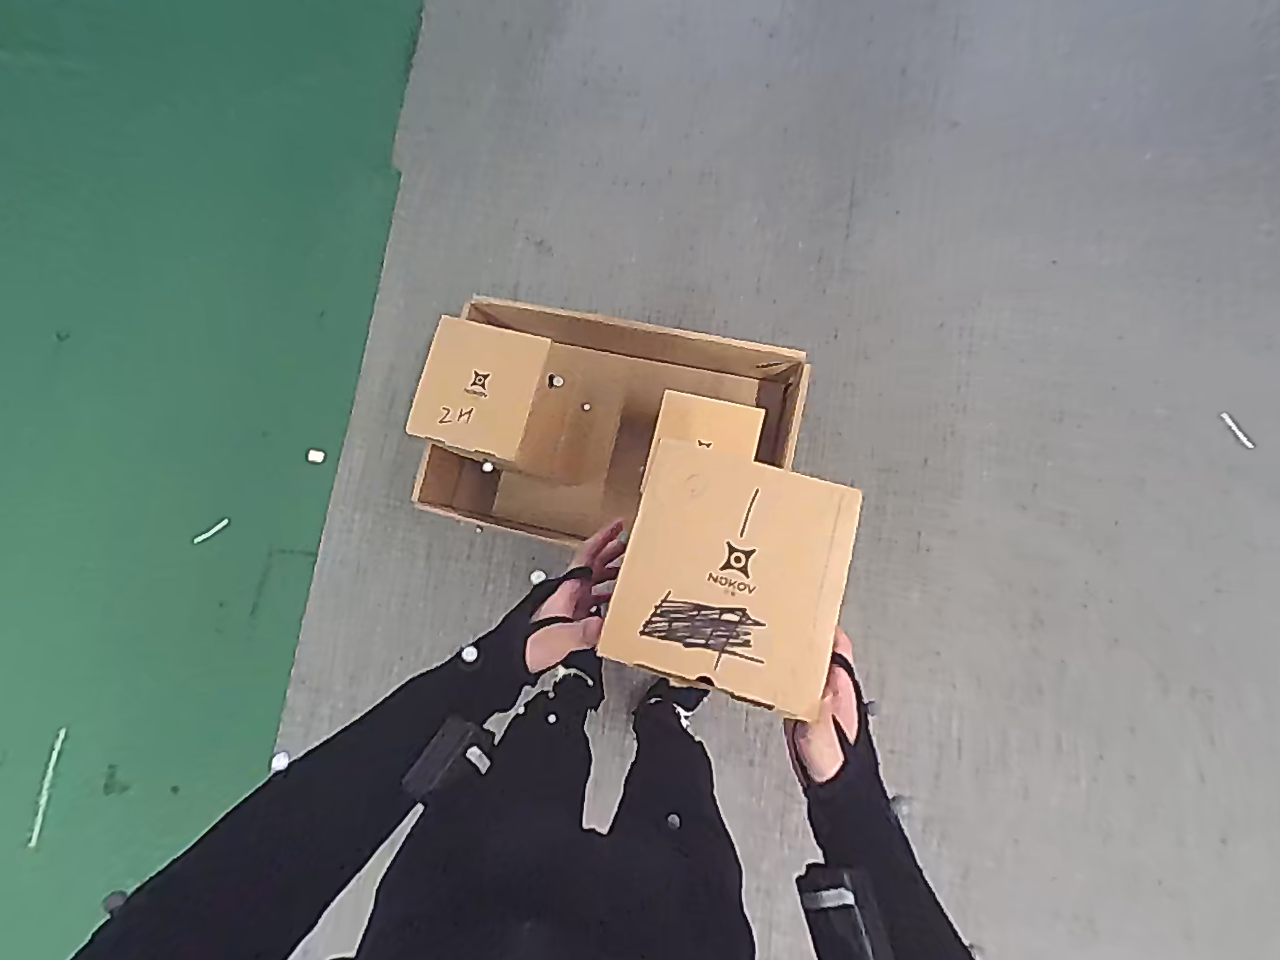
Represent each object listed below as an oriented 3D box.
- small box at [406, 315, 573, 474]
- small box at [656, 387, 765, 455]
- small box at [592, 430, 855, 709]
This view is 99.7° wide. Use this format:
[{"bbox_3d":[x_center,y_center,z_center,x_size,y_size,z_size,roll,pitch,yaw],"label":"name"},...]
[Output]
[{"bbox_3d":[-0.211,-0.119,0.813,0.168,0.176,0.179,14,85,9],"label":"small box"},{"bbox_3d":[0.108,-0.041,0.934,0.168,0.176,0.179,12,86,8],"label":"small box"},{"bbox_3d":[0.069,0.079,0.485,0.168,0.176,0.179,15,77,6],"label":"small box"}]
